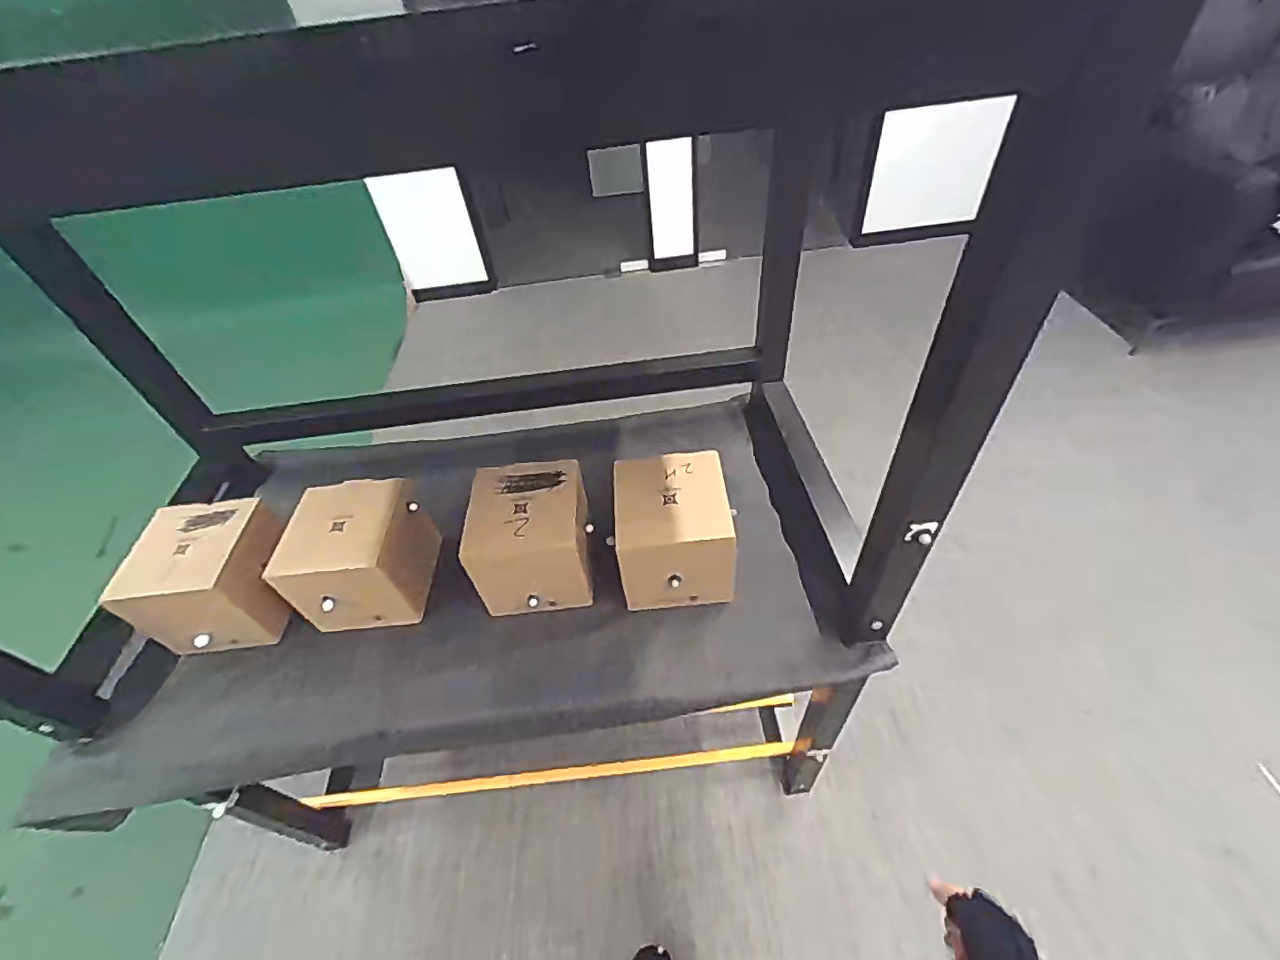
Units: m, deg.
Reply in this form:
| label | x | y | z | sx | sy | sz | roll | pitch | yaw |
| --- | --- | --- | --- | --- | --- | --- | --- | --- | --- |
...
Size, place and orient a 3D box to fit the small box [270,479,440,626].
| label | x | y | z | sx | sy | sz | roll | pitch | yaw |
| --- | --- | --- | --- | --- | --- | --- | --- | --- | --- |
| small box | -0.445 | 0.124 | 0.880 | 0.168 | 0.176 | 0.179 | -6 | 46 | 1 |

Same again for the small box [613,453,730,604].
| label | x | y | z | sx | sy | sz | roll | pitch | yaw |
| --- | --- | --- | --- | --- | --- | --- | --- | --- | --- |
| small box | 0.049 | 0.082 | 0.856 | 0.168 | 0.176 | 0.179 | -5 | 45 | 2 |

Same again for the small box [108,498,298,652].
| label | x | y | z | sx | sy | sz | roll | pitch | yaw |
| --- | --- | --- | --- | --- | --- | --- | --- | --- | --- |
| small box | -0.670 | 0.154 | 0.875 | 0.168 | 0.176 | 0.179 | -7 | 46 | 0 |
